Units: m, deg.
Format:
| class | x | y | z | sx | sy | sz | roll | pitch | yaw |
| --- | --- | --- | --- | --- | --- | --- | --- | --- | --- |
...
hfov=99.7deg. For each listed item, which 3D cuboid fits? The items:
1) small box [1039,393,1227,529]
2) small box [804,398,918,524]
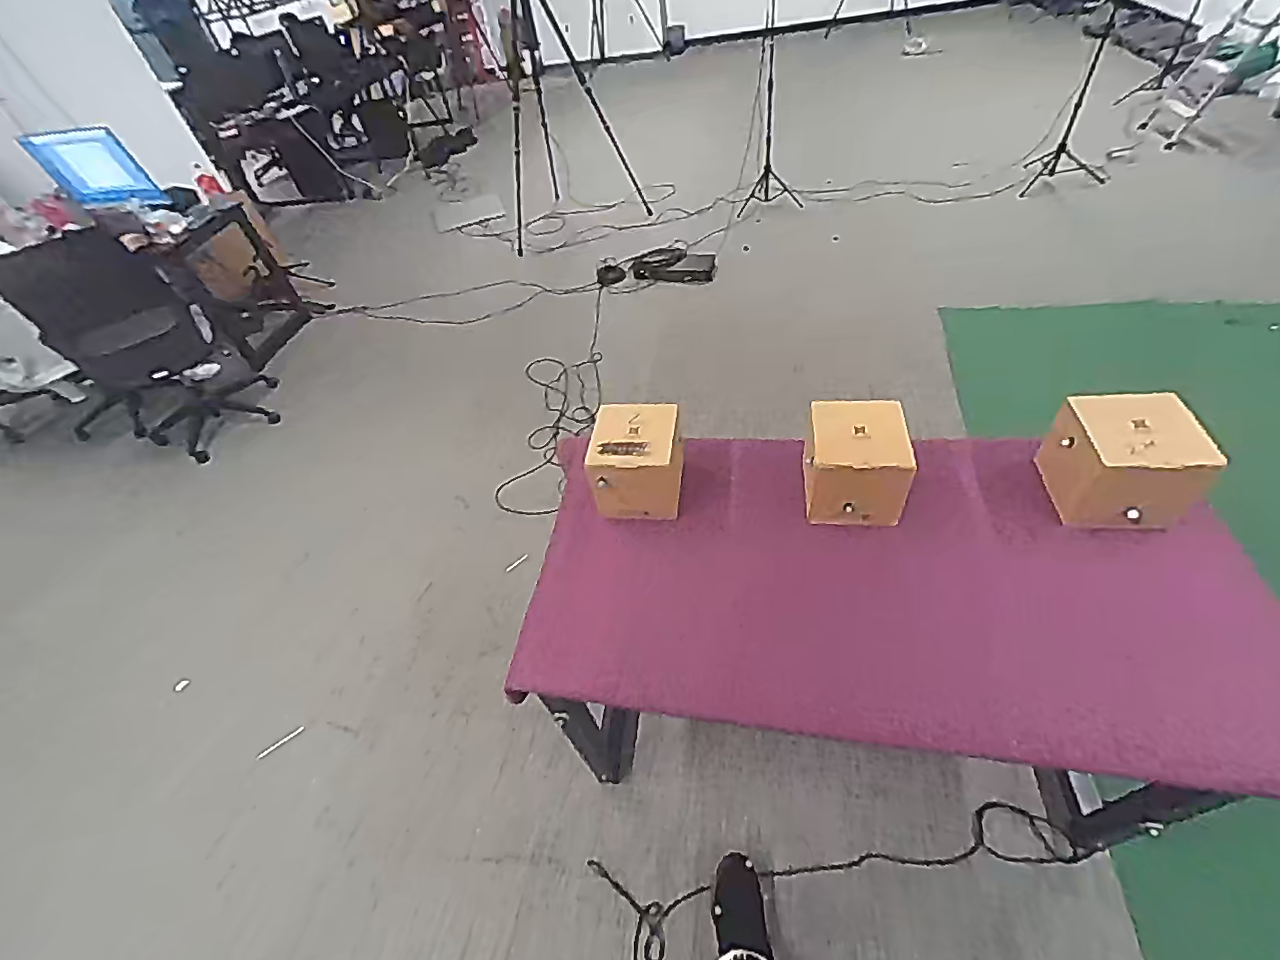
| class | x | y | z | sx | sy | sz | roll | pitch | yaw |
| --- | --- | --- | --- | --- | --- | --- | --- | --- | --- |
| small box | 0.847 | -0.034 | 0.957 | 0.168 | 0.176 | 0.179 | 0 | 49 | 14 |
| small box | 0.413 | -0.038 | 1.042 | 0.168 | 0.176 | 0.179 | 1 | 49 | 11 |
